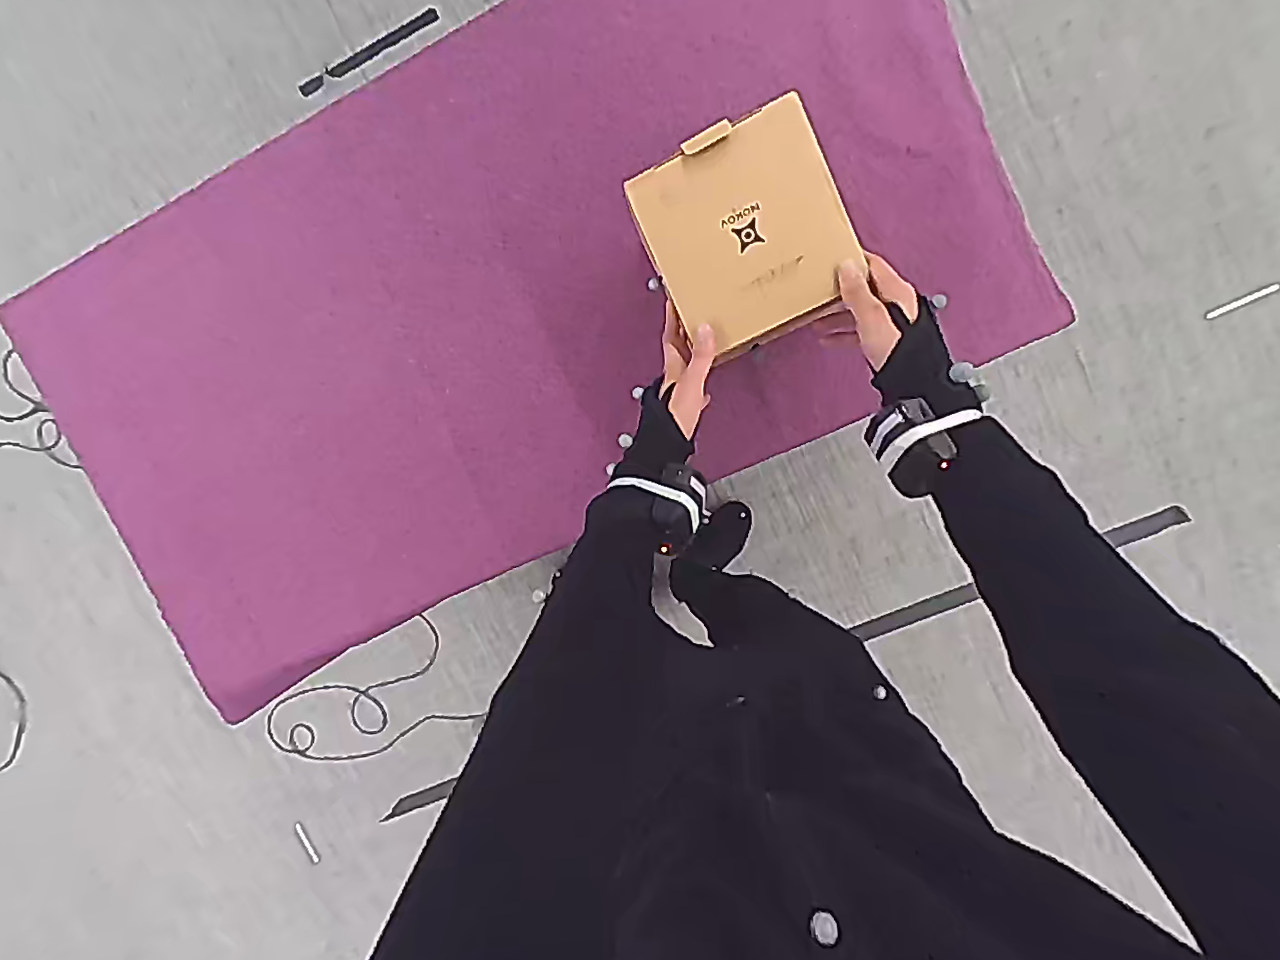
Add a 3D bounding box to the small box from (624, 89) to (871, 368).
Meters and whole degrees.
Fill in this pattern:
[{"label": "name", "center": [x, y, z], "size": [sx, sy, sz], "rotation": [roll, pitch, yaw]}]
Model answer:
[{"label": "small box", "center": [0.099, -0.228, 0.545], "size": [0.168, 0.176, 0.179], "rotation": [-24, 94, 9]}]
